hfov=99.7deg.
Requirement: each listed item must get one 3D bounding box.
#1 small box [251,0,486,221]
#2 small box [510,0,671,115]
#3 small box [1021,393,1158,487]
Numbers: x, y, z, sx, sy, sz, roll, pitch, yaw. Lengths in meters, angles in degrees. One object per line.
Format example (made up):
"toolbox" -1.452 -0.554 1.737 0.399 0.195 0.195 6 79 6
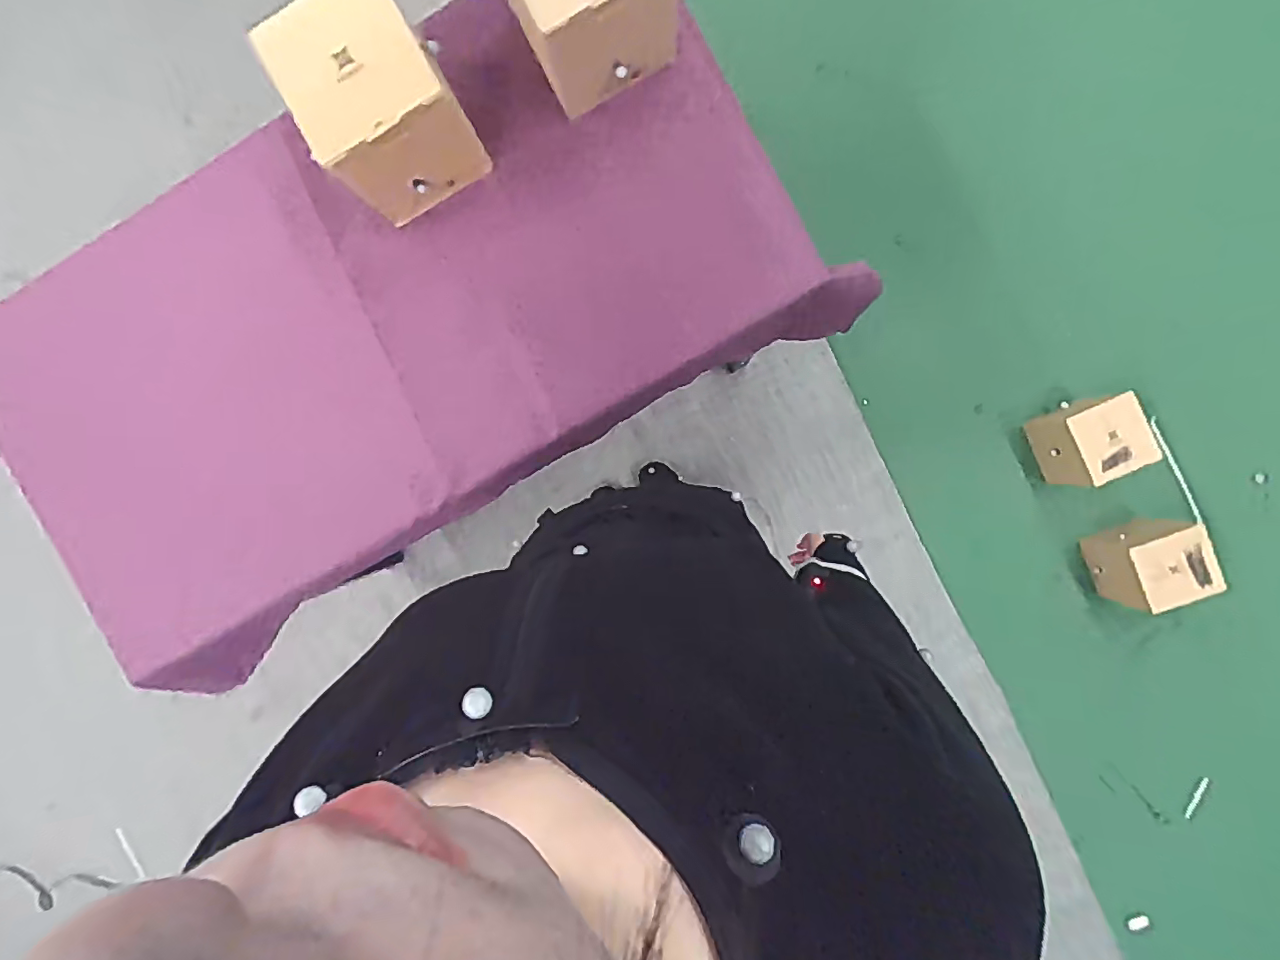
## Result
"small box" -0.329 -0.475 0.691 0.168 0.176 0.179 -29 92 5
"small box" -0.072 -0.606 0.661 0.168 0.176 0.179 -27 94 6
"small box" 1.100 -0.096 1.339 0.168 0.176 0.179 -24 90 4
